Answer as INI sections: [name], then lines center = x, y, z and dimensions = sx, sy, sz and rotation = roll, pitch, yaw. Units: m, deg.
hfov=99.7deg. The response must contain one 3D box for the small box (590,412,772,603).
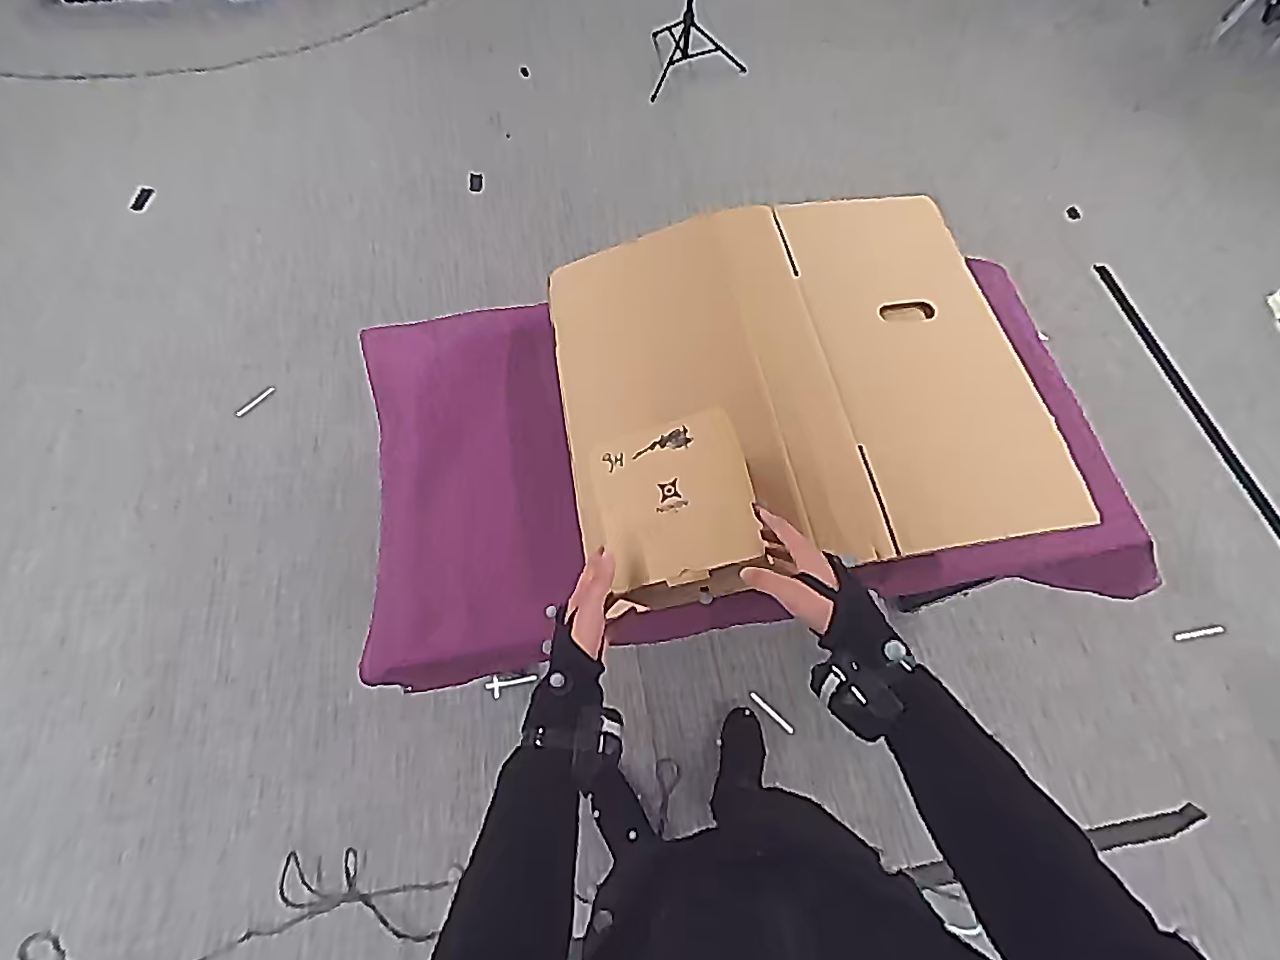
[small box]
center = 0.056, 0.047, 0.654
dimensions = 0.168, 0.176, 0.179
rotation = -16, 68, 12
